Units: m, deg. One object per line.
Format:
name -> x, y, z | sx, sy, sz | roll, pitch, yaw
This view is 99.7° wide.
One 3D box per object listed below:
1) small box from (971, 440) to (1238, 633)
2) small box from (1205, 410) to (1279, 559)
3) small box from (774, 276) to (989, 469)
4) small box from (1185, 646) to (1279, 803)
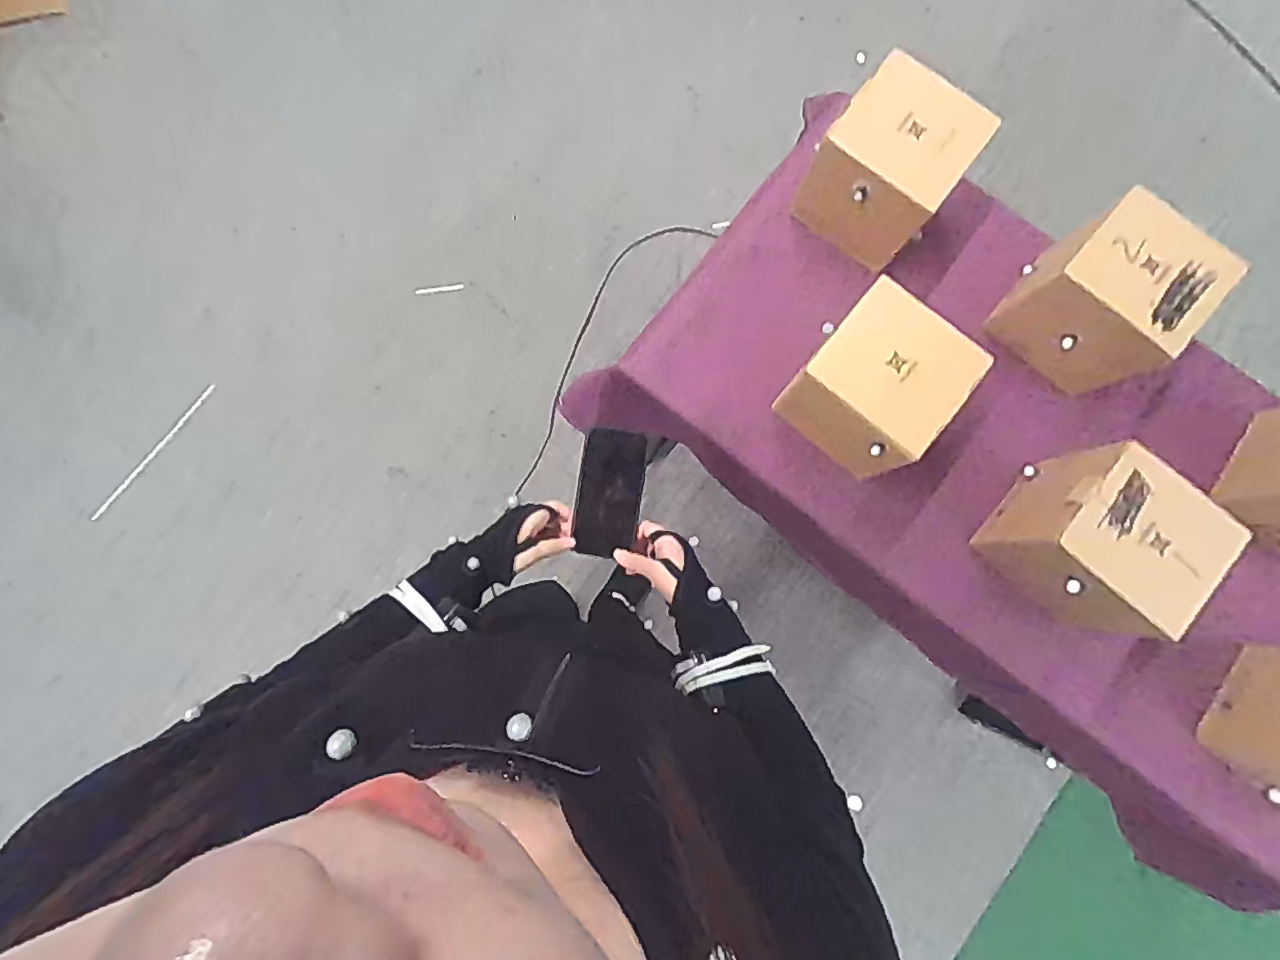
small box -> 0.597, 0.076, 0.722 | 0.179, 0.176, 0.168 | 42, 84, 3
small box -> 0.955, 0.001, 0.739 | 0.168, 0.176, 0.179 | 36, 83, 4
small box -> 0.314, -0.133, 0.744 | 0.179, 0.176, 0.168 | 40, 83, 3
small box -> 0.887, 0.336, 0.693 | 0.179, 0.176, 0.168 | 38, 83, 4
